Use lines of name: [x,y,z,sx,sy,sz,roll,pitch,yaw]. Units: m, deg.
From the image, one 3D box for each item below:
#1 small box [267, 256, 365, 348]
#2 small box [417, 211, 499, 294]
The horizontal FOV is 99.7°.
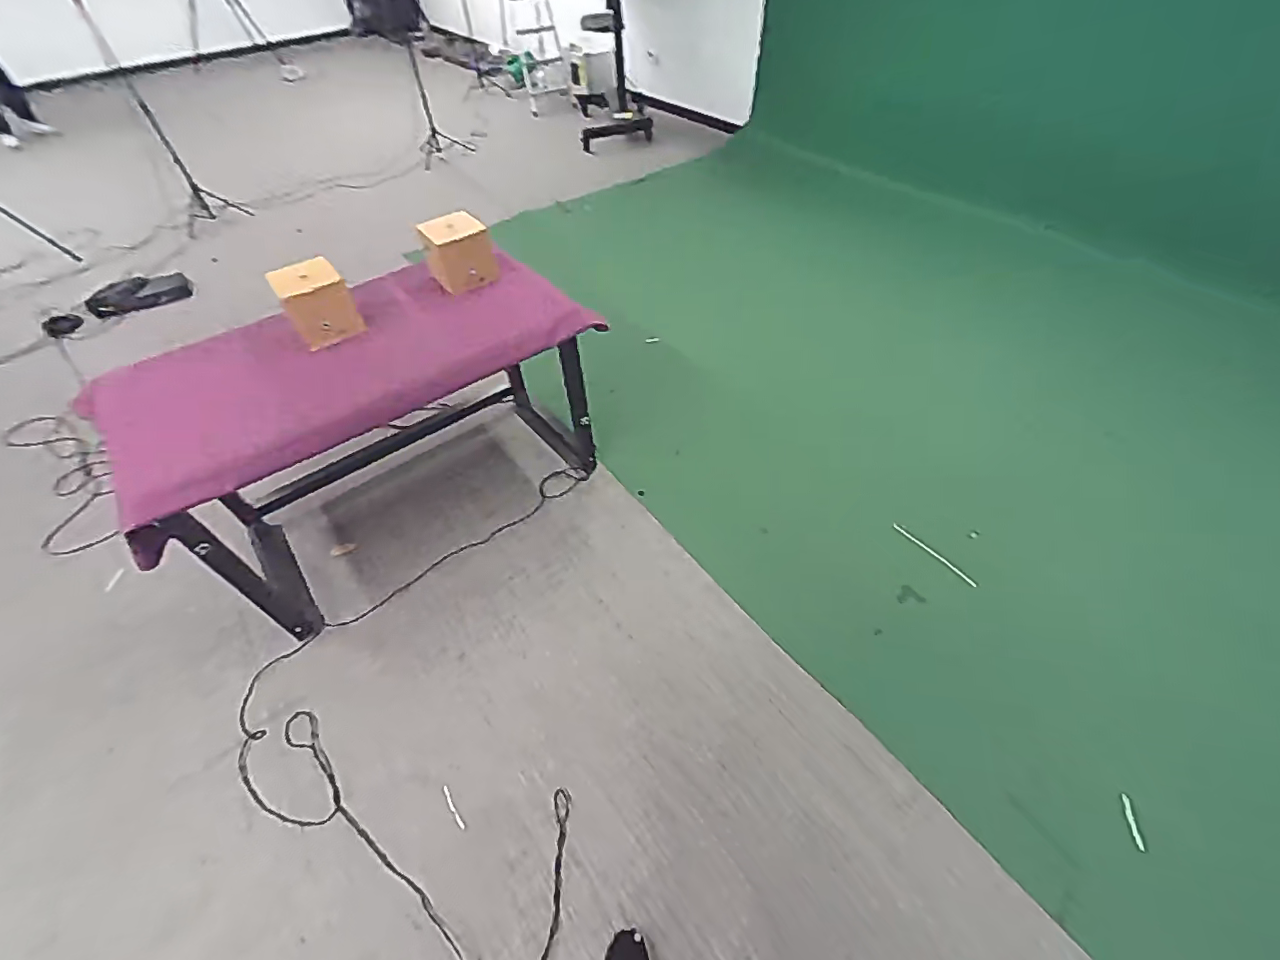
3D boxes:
small box: [-0.922,-0.508,1.545,0.168,0.176,0.179,-31,56,-23]
small box: [-0.571,-0.718,1.709,0.168,0.176,0.179,-31,55,-21]
